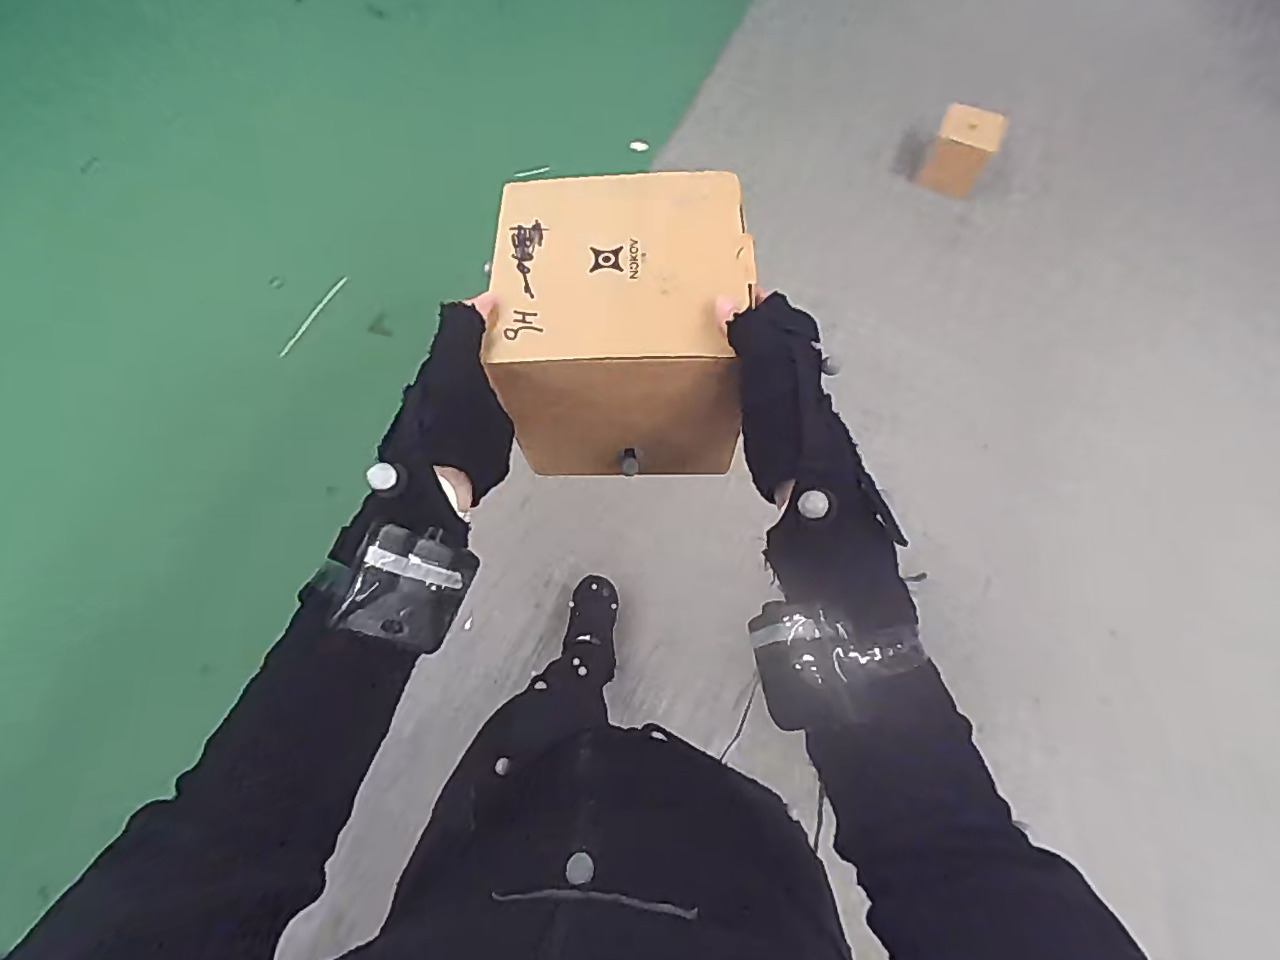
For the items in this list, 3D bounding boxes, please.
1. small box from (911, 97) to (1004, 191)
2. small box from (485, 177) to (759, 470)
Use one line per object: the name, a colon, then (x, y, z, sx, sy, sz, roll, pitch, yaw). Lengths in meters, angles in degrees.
small box: (0.987, -1.043, 1.691, 0.179, 0.176, 0.168, 22, 72, 10)
small box: (-0.008, -0.116, 0.444, 0.179, 0.176, 0.168, 0, 65, 2)
